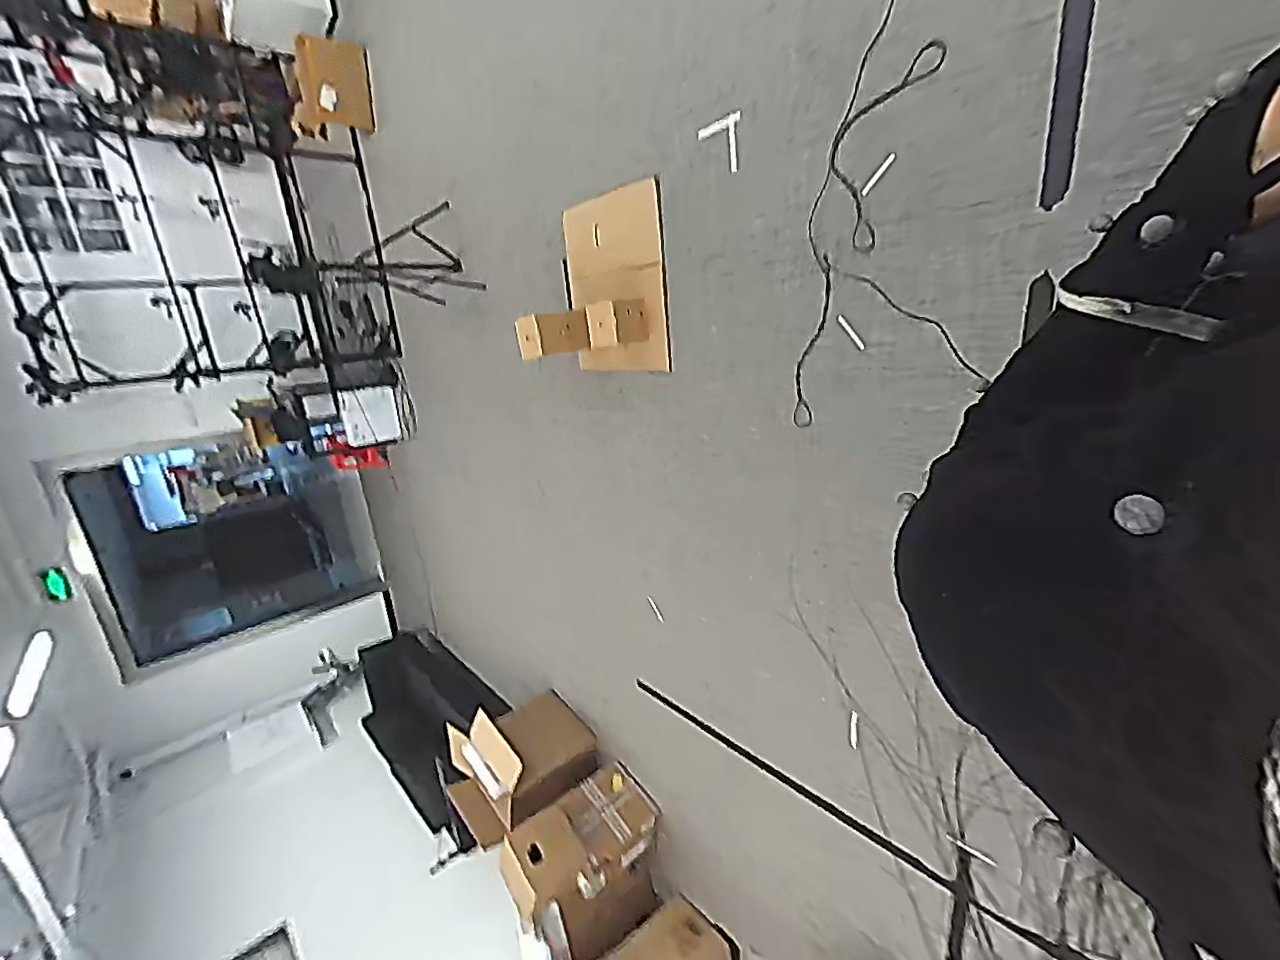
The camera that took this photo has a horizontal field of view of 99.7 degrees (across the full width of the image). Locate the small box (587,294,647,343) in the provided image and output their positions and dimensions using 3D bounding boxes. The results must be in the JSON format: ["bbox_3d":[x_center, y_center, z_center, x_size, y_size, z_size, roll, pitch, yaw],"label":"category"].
[{"bbox_3d":[-0.084,-0.642,2.146,0.179,0.176,0.168,11,113,49],"label":"small box"}]

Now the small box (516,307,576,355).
[{"bbox_3d":[-0.392,-0.622,2.261,0.179,0.176,0.168,6,111,49],"label":"small box"}]

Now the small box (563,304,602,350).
[{"bbox_3d":[-0.268,-0.669,2.359,0.179,0.176,0.168,4,108,49],"label":"small box"}]
